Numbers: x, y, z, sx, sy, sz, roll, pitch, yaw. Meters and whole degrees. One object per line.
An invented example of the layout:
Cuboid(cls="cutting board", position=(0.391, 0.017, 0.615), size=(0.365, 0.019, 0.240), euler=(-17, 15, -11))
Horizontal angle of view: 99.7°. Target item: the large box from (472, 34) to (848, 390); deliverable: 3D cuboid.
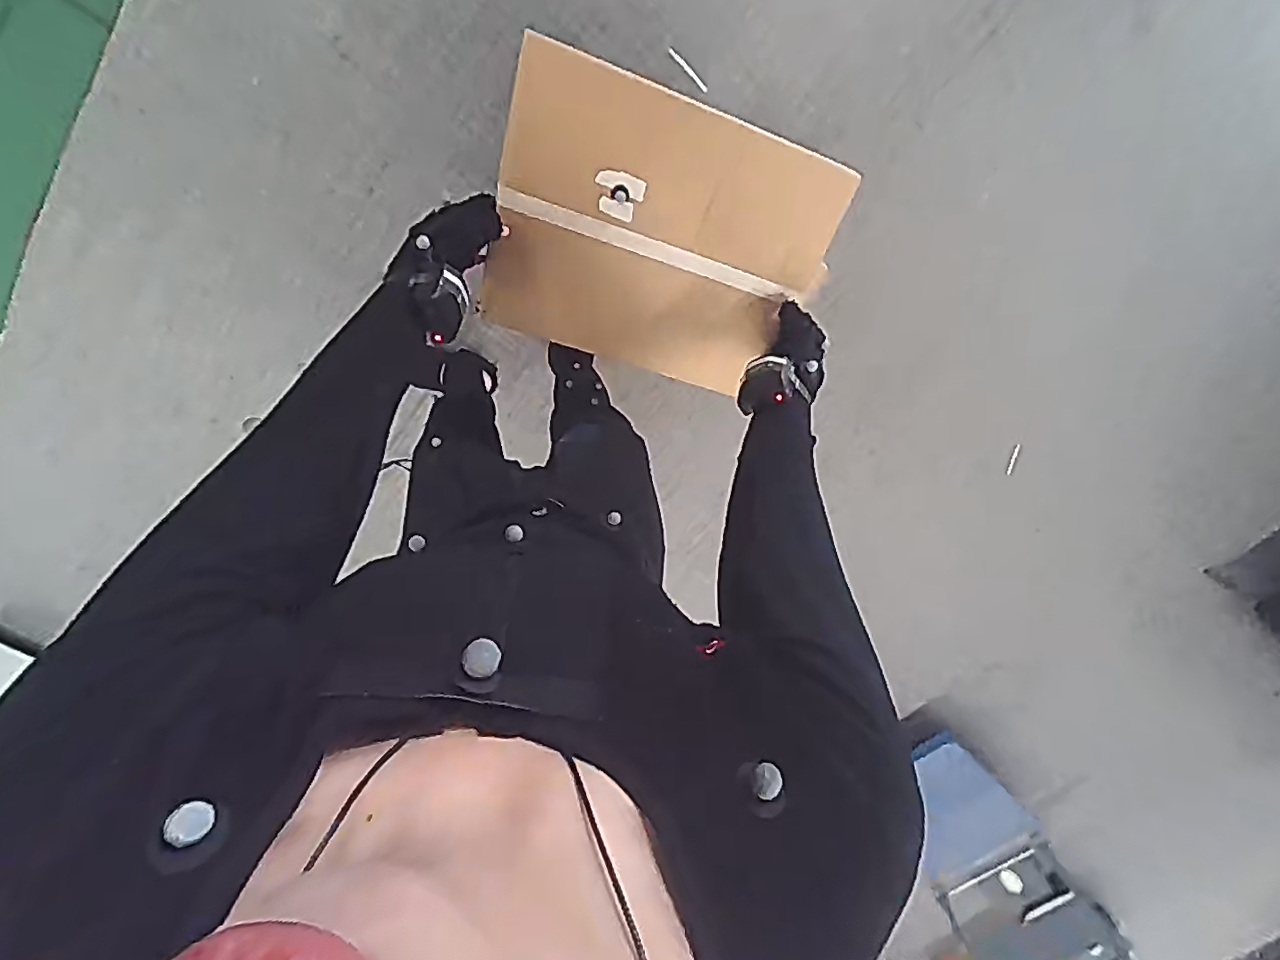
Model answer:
Cuboid(cls="large box", position=(0.009, -0.378, 0.792), size=(0.408, 0.320, 0.320), euler=(14, 122, -12))
